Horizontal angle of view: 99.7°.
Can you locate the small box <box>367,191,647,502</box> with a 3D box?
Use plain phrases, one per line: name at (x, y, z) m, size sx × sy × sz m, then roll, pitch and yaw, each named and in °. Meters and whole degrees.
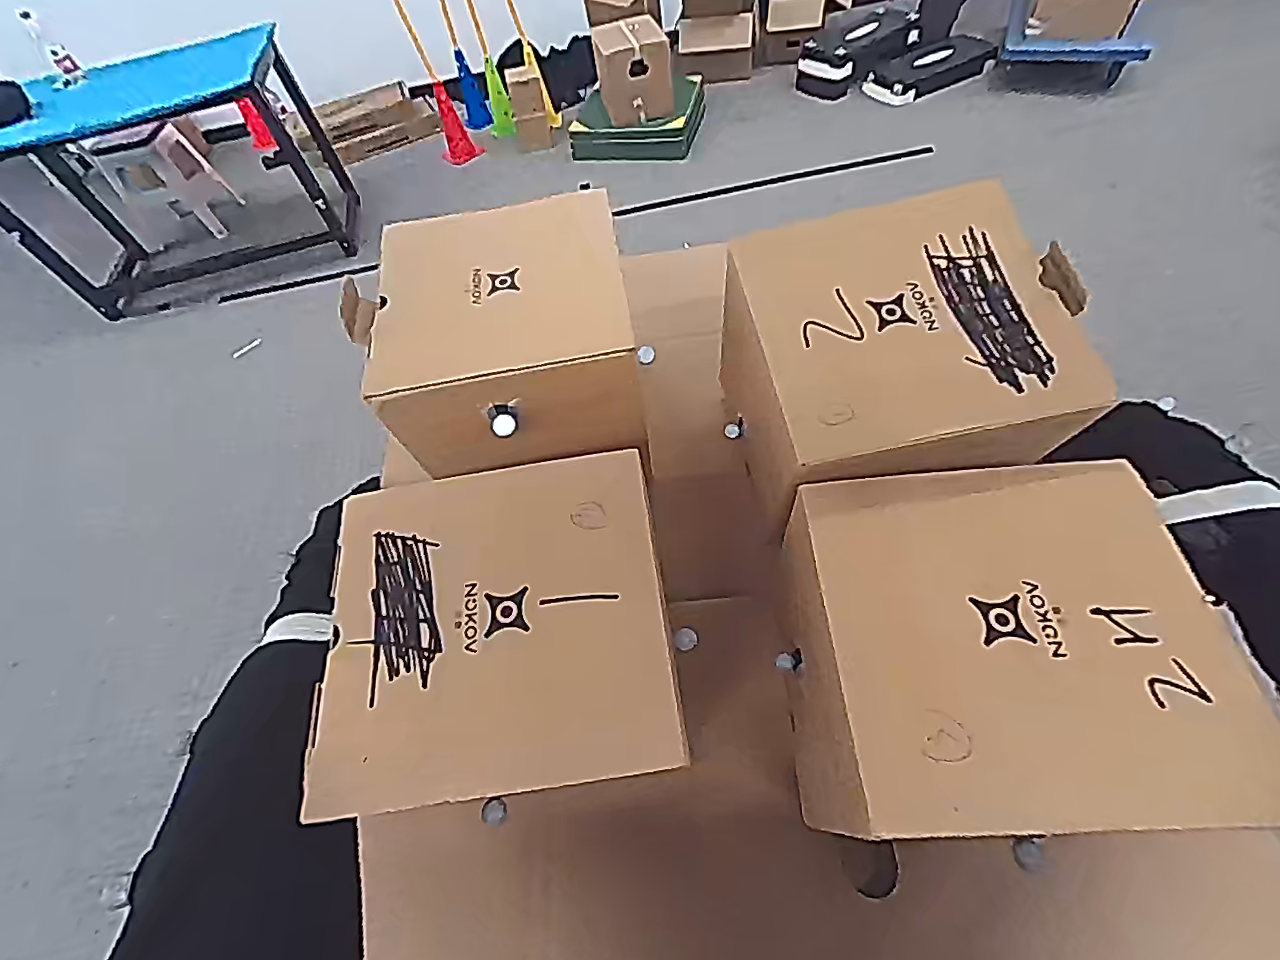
small box at (-0.092, -0.099, 0.451) m, size 0.179 × 0.176 × 0.168 m, roll -11°, pitch 60°, yaw 2°
